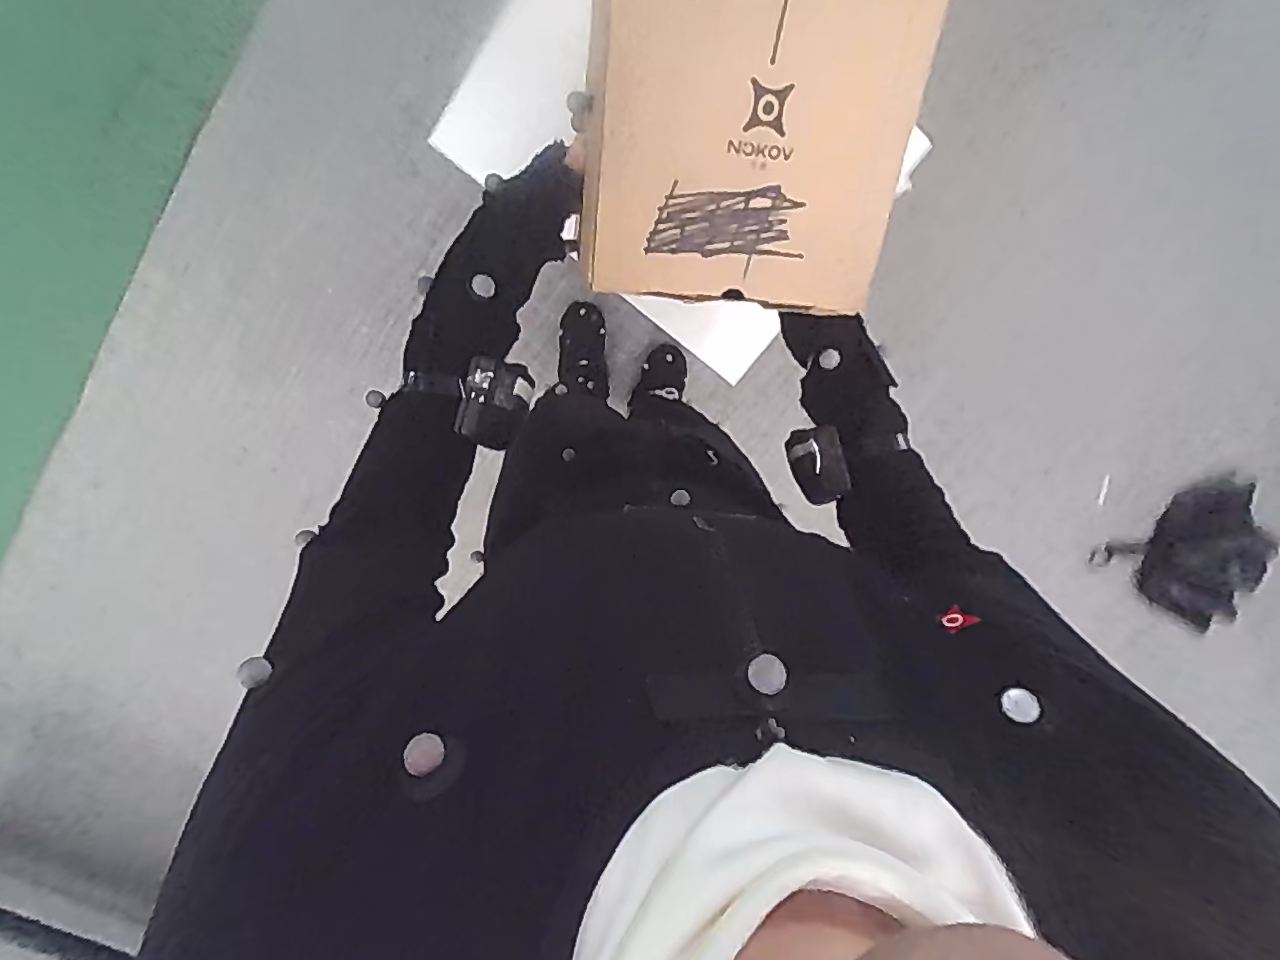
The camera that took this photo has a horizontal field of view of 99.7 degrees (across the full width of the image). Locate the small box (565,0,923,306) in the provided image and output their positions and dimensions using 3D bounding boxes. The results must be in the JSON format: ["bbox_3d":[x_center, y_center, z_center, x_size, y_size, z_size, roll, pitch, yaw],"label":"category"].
[{"bbox_3d":[0.039,-0.220,0.341,0.168,0.176,0.179,0,117,-9],"label":"small box"}]
